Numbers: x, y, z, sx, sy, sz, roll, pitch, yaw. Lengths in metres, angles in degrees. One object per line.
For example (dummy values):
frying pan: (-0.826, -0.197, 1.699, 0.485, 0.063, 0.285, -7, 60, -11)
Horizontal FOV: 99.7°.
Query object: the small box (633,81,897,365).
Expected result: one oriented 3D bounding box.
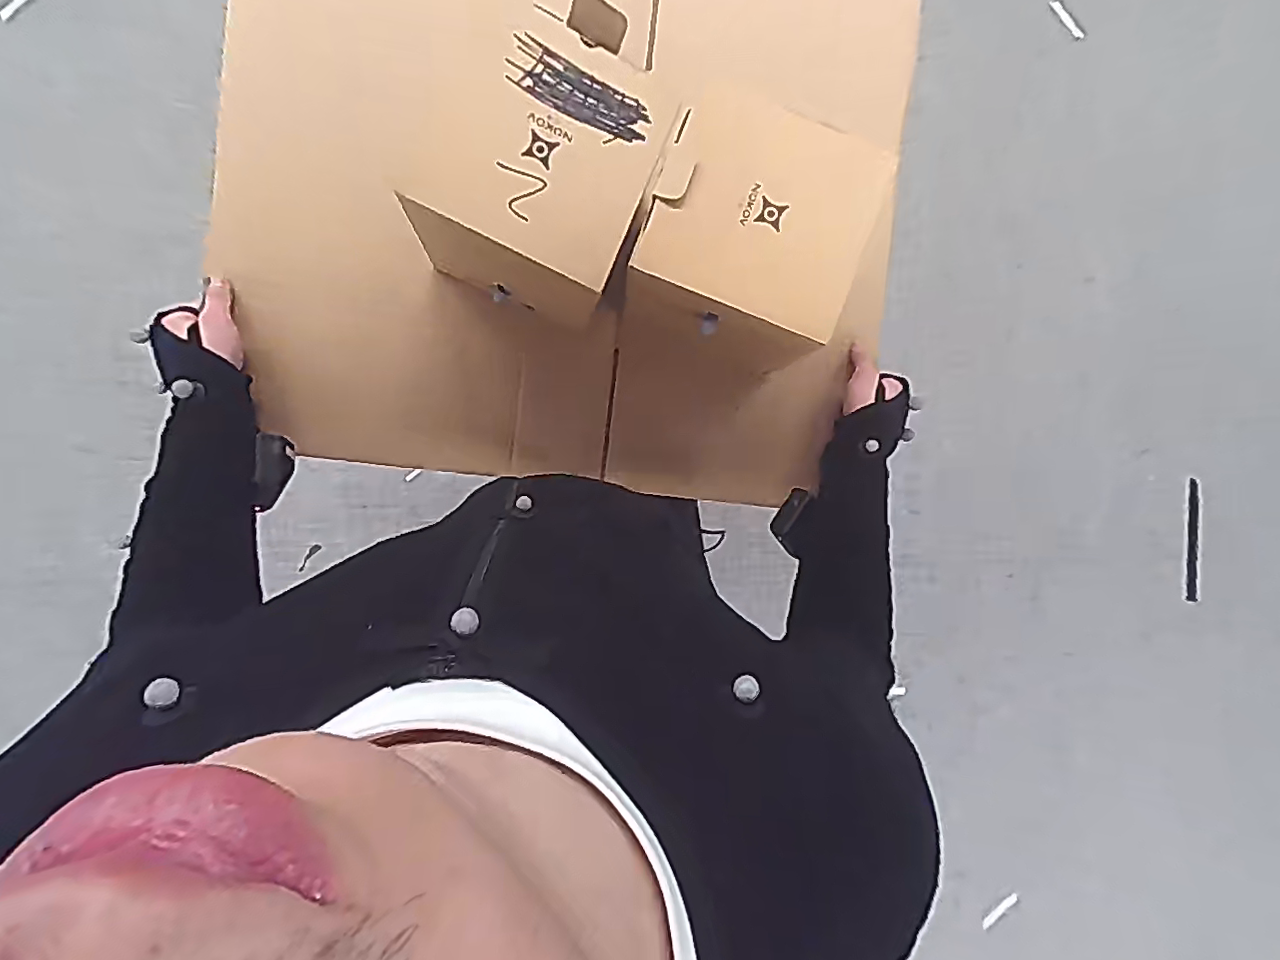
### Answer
small box: (0.102, -0.222, 0.524, 0.179, 0.176, 0.168, 21, 91, -3)
